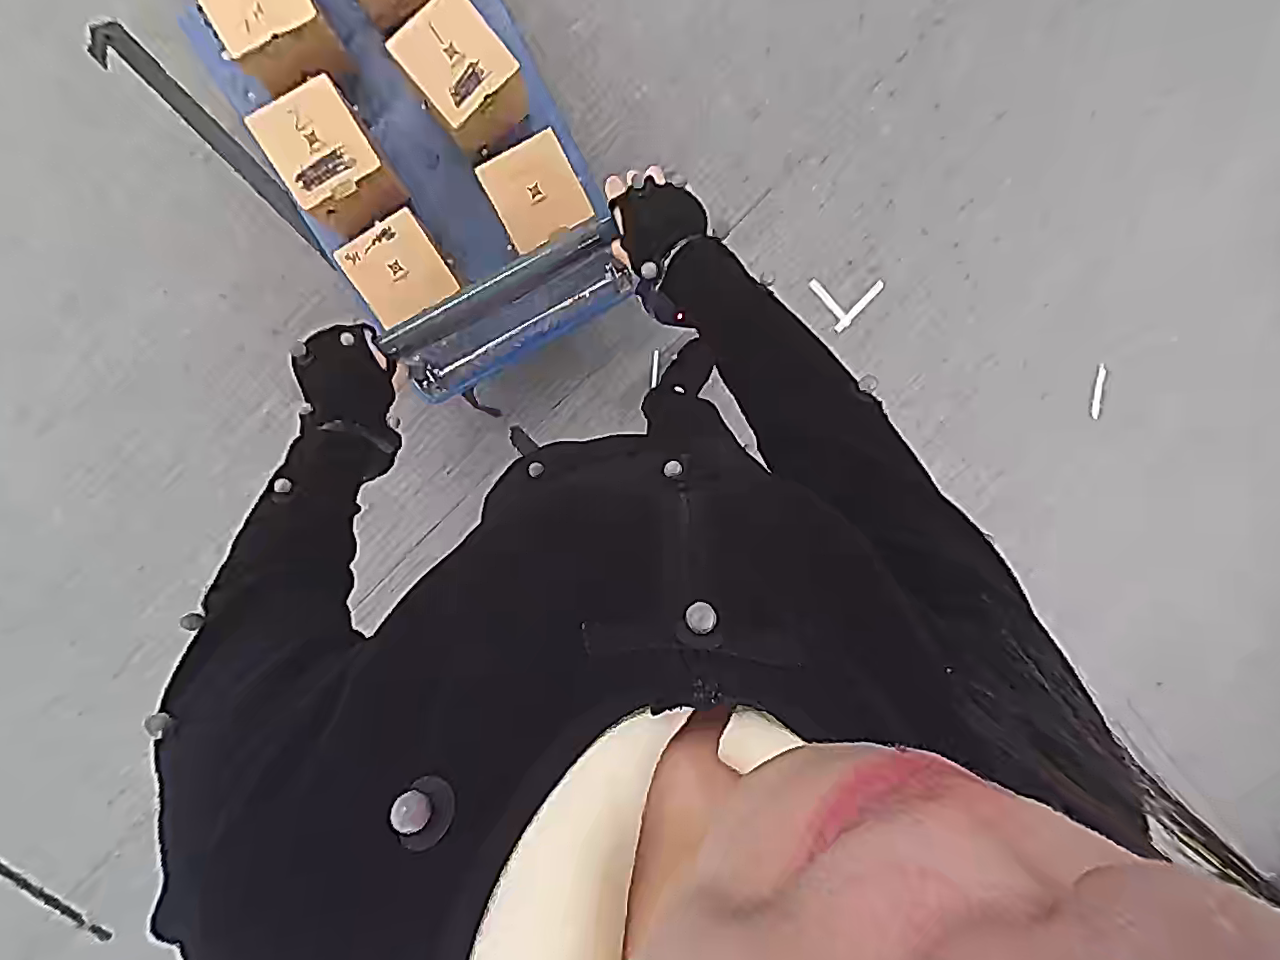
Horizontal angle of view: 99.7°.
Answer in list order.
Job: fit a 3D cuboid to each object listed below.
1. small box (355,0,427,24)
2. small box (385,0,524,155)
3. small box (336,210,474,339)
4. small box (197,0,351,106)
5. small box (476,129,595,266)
[{"bbox_3d":[-0.490,-0.988,0.983,0.168,0.176,0.179,-33,102,0],"label":"small box"},{"bbox_3d":[-0.342,-0.766,1.041,0.168,0.176,0.179,-42,102,2],"label":"small box"},{"bbox_3d":[-0.459,-0.400,1.091,0.168,0.176,0.179,-34,102,-1],"label":"small box"},{"bbox_3d":[-0.673,-0.839,0.986,0.168,0.176,0.179,-28,103,-1],"label":"small box"},{"bbox_3d":[-0.204,-0.555,1.097,0.168,0.176,0.179,-30,102,-2],"label":"small box"}]
